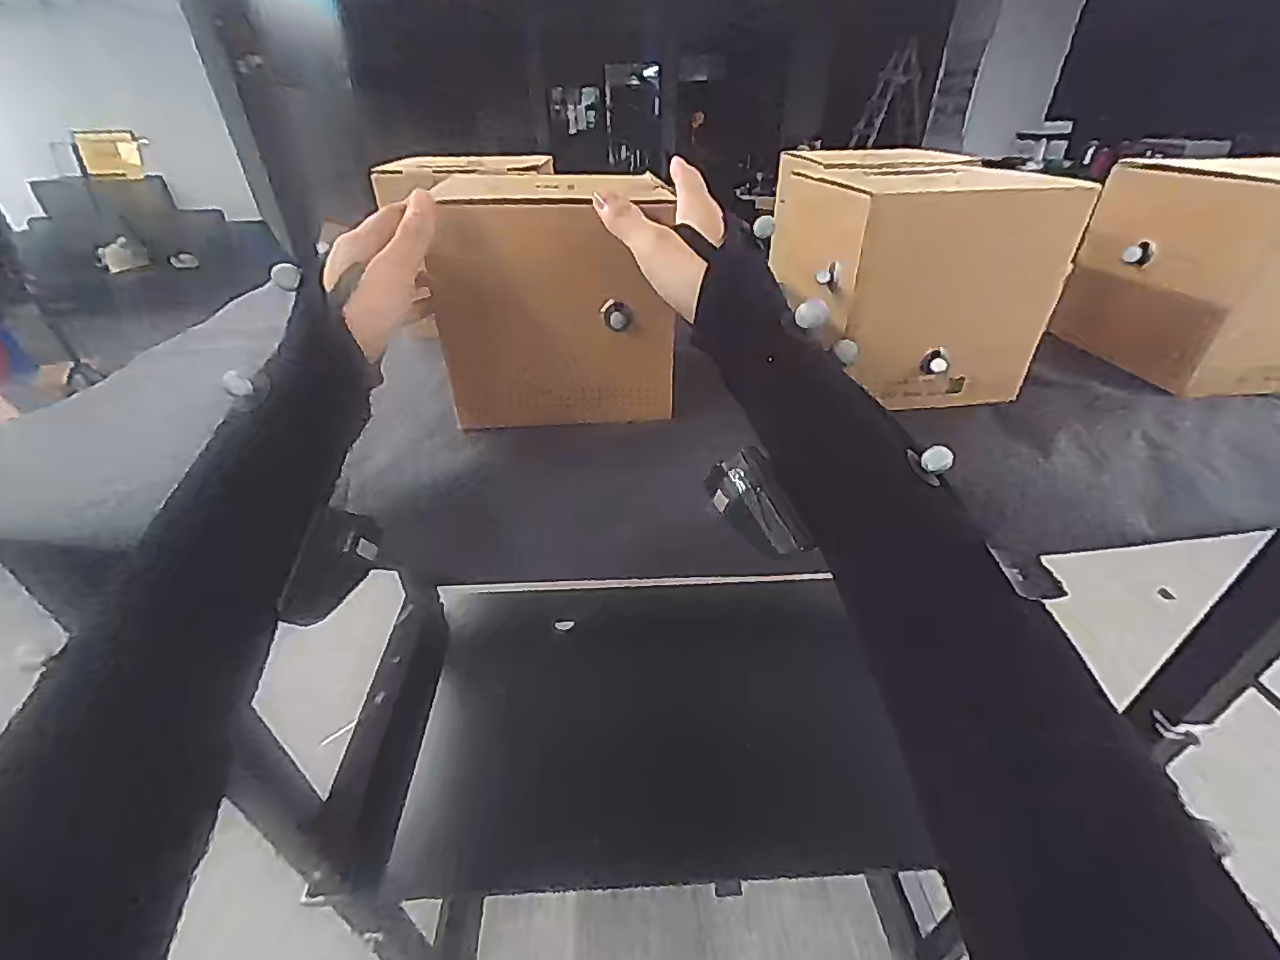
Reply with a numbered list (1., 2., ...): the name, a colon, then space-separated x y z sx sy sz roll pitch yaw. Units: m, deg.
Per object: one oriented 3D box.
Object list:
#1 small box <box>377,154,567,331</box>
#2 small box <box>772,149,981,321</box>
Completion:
1. small box: -0.180 -0.283 0.645 0.168 0.176 0.179 -2 34 -2
2. small box: 0.267 -0.304 0.663 0.168 0.176 0.179 -2 34 -1
